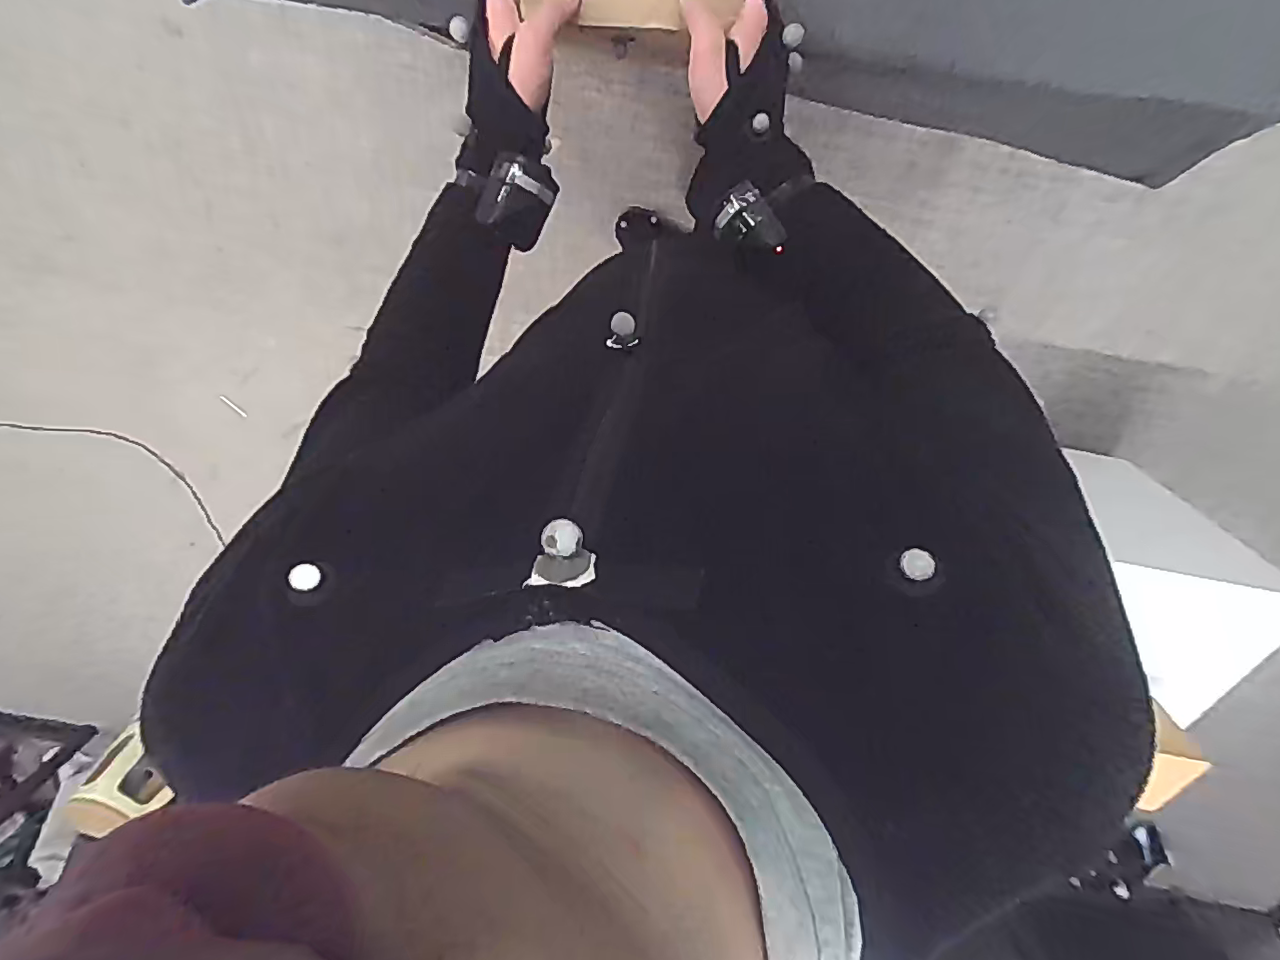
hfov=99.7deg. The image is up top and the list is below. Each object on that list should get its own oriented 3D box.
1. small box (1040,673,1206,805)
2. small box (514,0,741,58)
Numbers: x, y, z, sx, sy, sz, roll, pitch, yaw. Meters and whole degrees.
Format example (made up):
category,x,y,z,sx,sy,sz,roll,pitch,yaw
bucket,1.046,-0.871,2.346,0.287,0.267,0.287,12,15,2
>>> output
category,x,y,z,sx,sy,sz,roll,pitch,yaw
small box,0.998,0.543,1.143,0.168,0.176,0.179,11,120,-1
small box,0.001,-0.460,0.436,0.179,0.176,0.168,5,120,2
